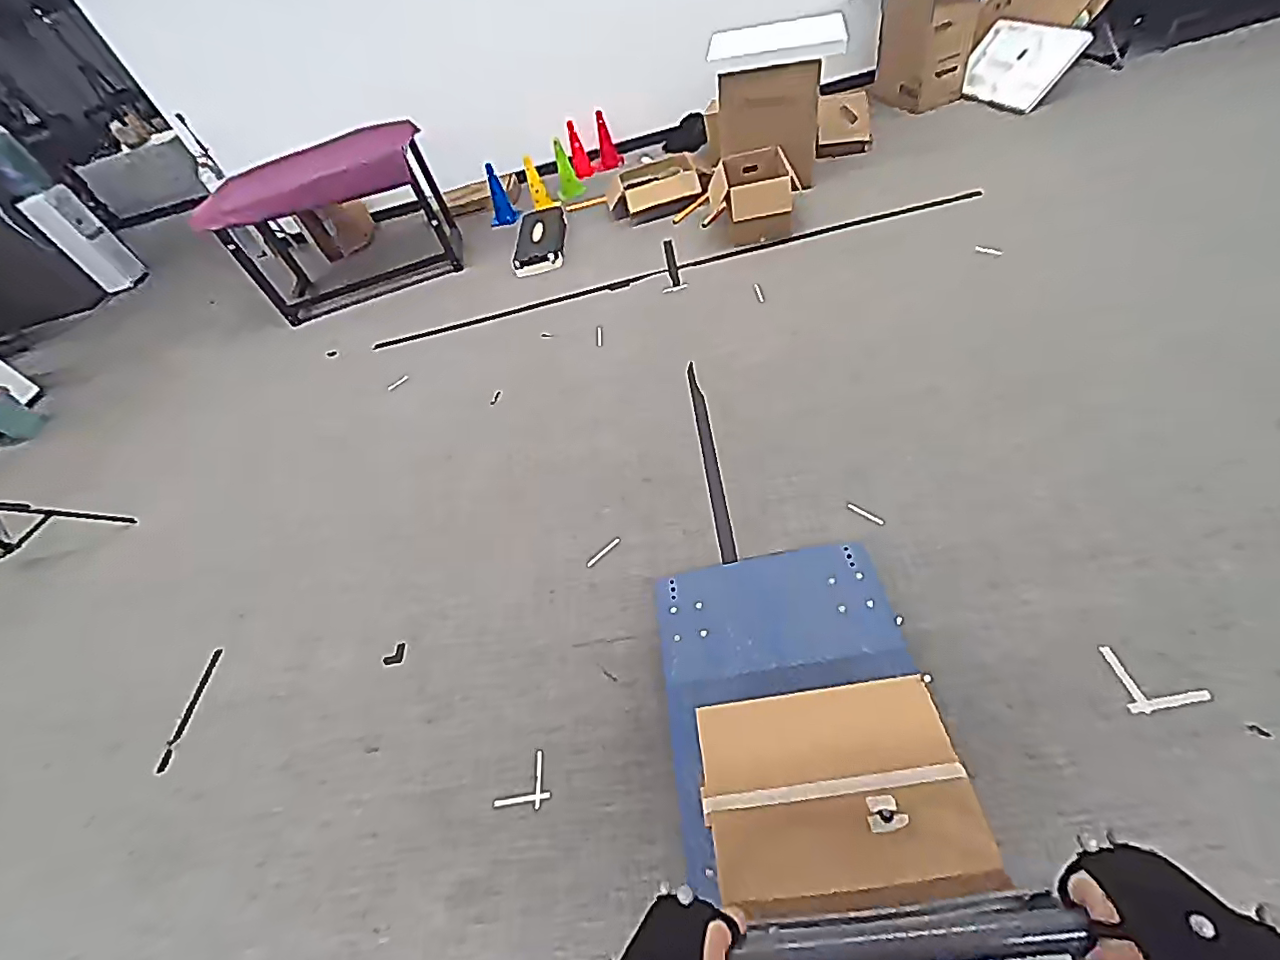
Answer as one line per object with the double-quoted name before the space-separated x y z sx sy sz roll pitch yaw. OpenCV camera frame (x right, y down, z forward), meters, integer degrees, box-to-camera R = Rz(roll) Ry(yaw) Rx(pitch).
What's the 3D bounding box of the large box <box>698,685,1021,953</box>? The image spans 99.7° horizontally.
"large box" 0.337 0.600 0.949 0.408 0.320 0.320 -11 47 6
